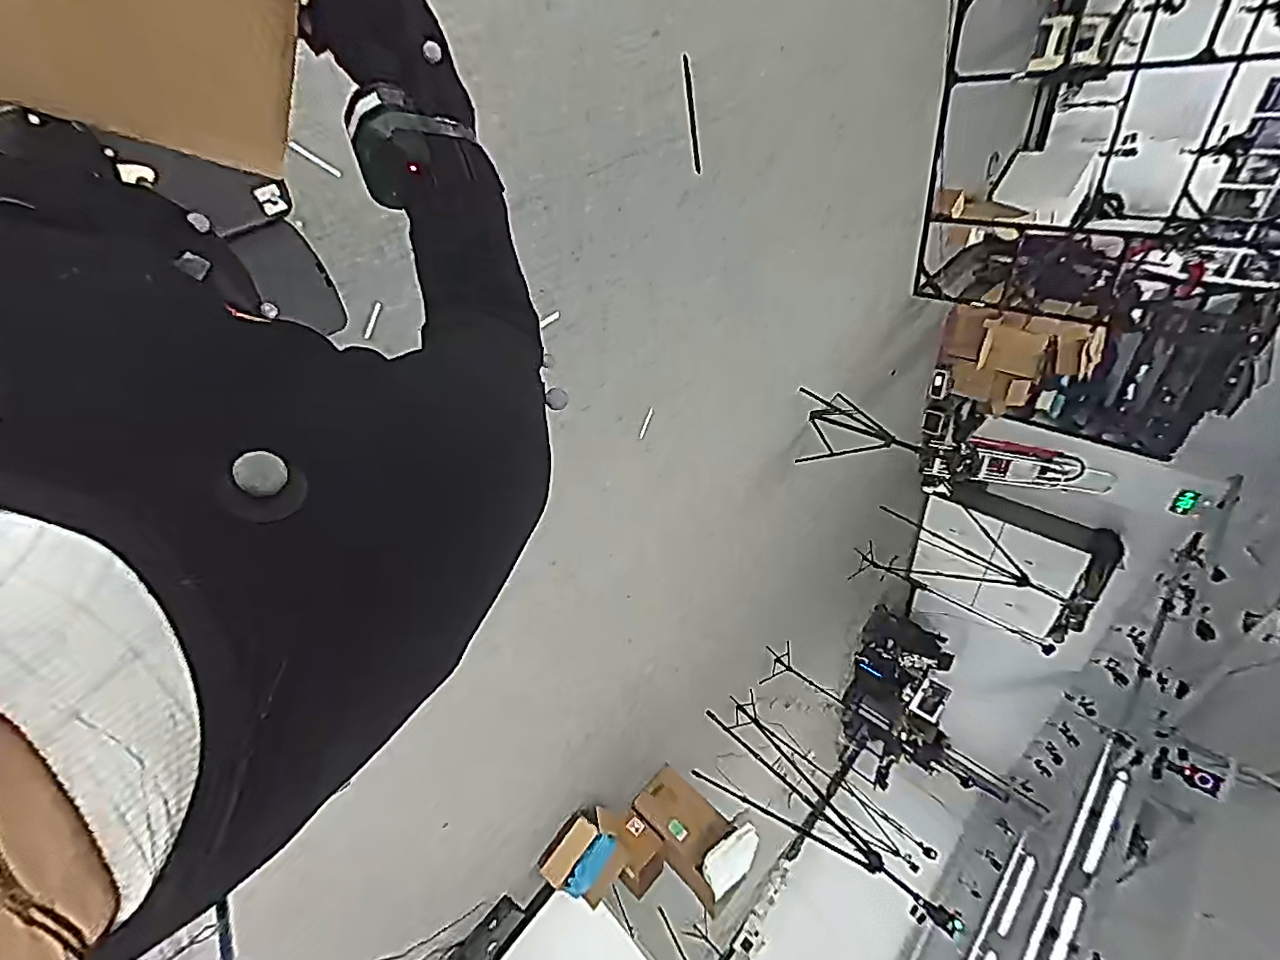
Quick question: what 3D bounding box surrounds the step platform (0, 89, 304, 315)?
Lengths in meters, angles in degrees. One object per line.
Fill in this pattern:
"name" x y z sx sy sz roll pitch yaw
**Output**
"step platform" -1.030 -0.563 1.015 0.684 0.204 0.286 -41 138 -27
